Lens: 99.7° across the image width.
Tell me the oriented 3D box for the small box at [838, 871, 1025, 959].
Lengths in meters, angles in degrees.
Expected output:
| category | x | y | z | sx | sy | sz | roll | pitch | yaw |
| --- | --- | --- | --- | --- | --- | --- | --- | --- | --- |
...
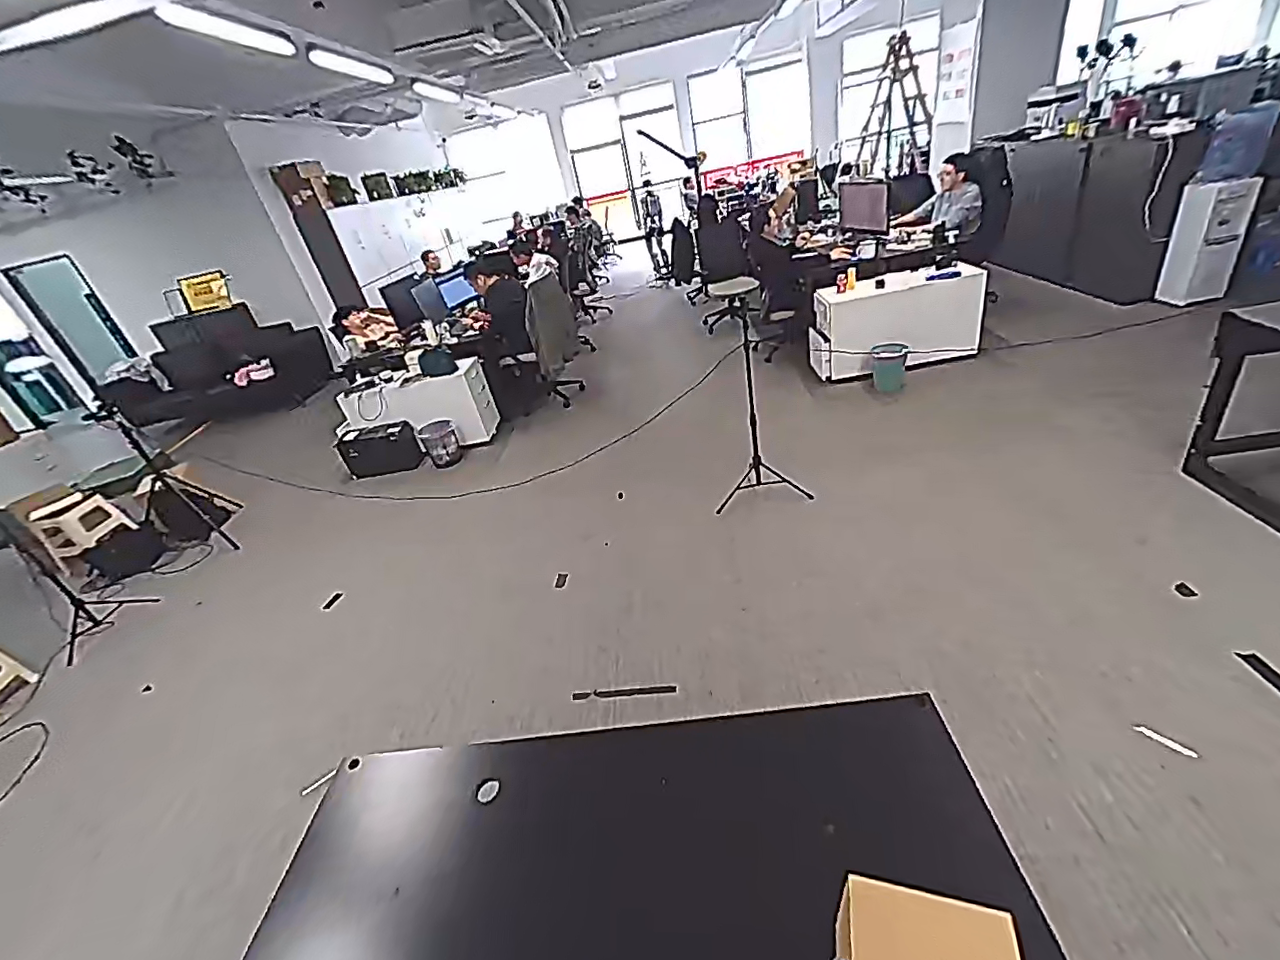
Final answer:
| category | x | y | z | sx | sy | sz | roll | pitch | yaw |
| --- | --- | --- | --- | --- | --- | --- | --- | --- | --- |
| small box | 0.304 | 0.568 | 0.575 | 0.168 | 0.176 | 0.179 | 3 | 37 | 17 |
